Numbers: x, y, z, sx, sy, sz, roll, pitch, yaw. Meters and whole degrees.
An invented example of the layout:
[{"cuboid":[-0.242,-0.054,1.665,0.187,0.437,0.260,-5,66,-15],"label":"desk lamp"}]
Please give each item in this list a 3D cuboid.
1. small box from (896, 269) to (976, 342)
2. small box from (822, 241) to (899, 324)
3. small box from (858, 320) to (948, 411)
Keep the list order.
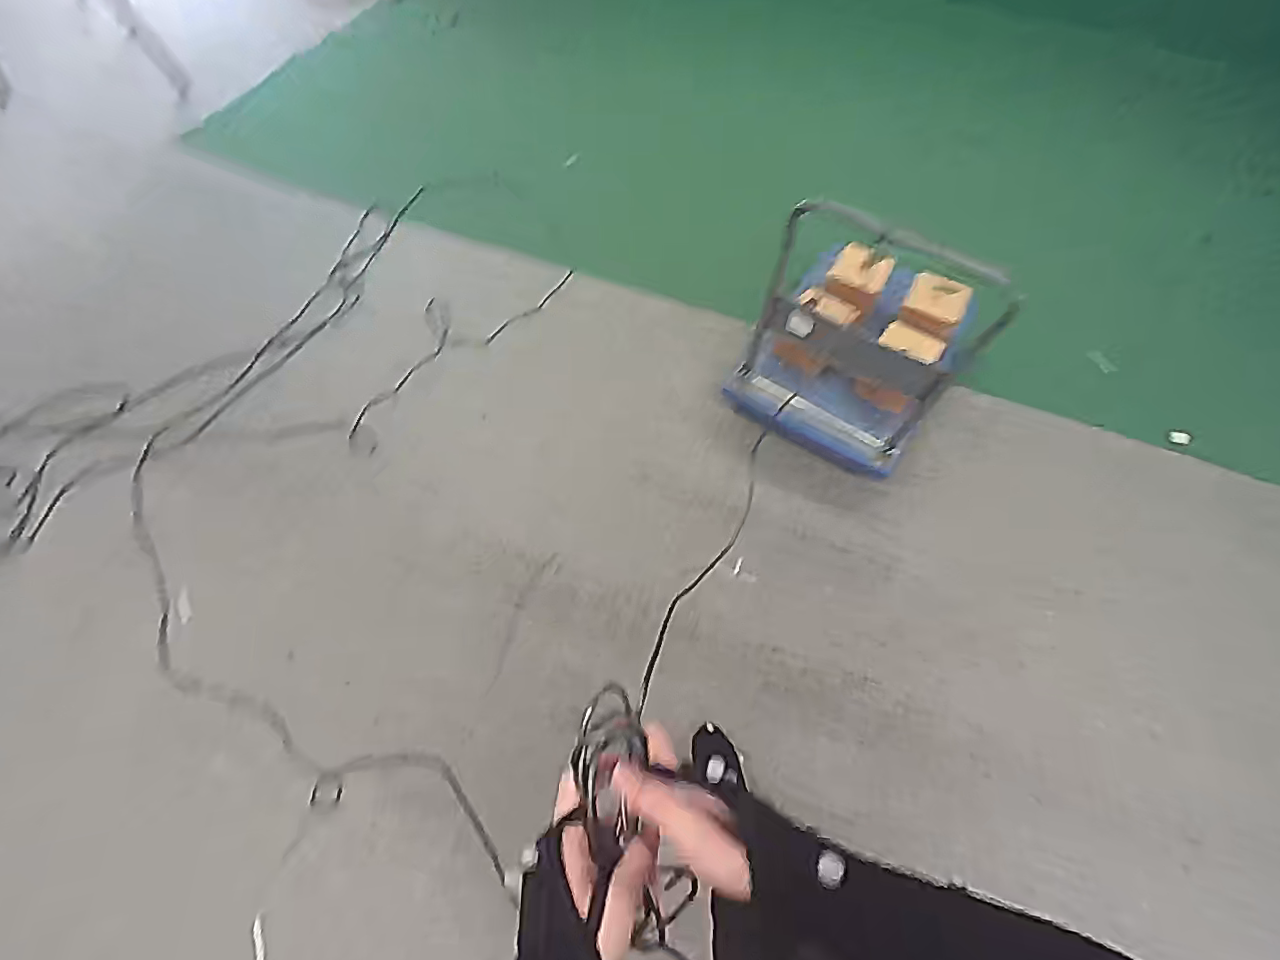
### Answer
[{"cuboid":[0.954,-0.546,1.771,0.168,0.176,0.179,28,66,14],"label":"small box"},{"cuboid":[0.737,-0.661,1.827,0.168,0.176,0.179,29,65,12],"label":"small box"},{"cuboid":[0.801,-0.349,1.665,0.168,0.176,0.179,33,66,15],"label":"small box"}]
